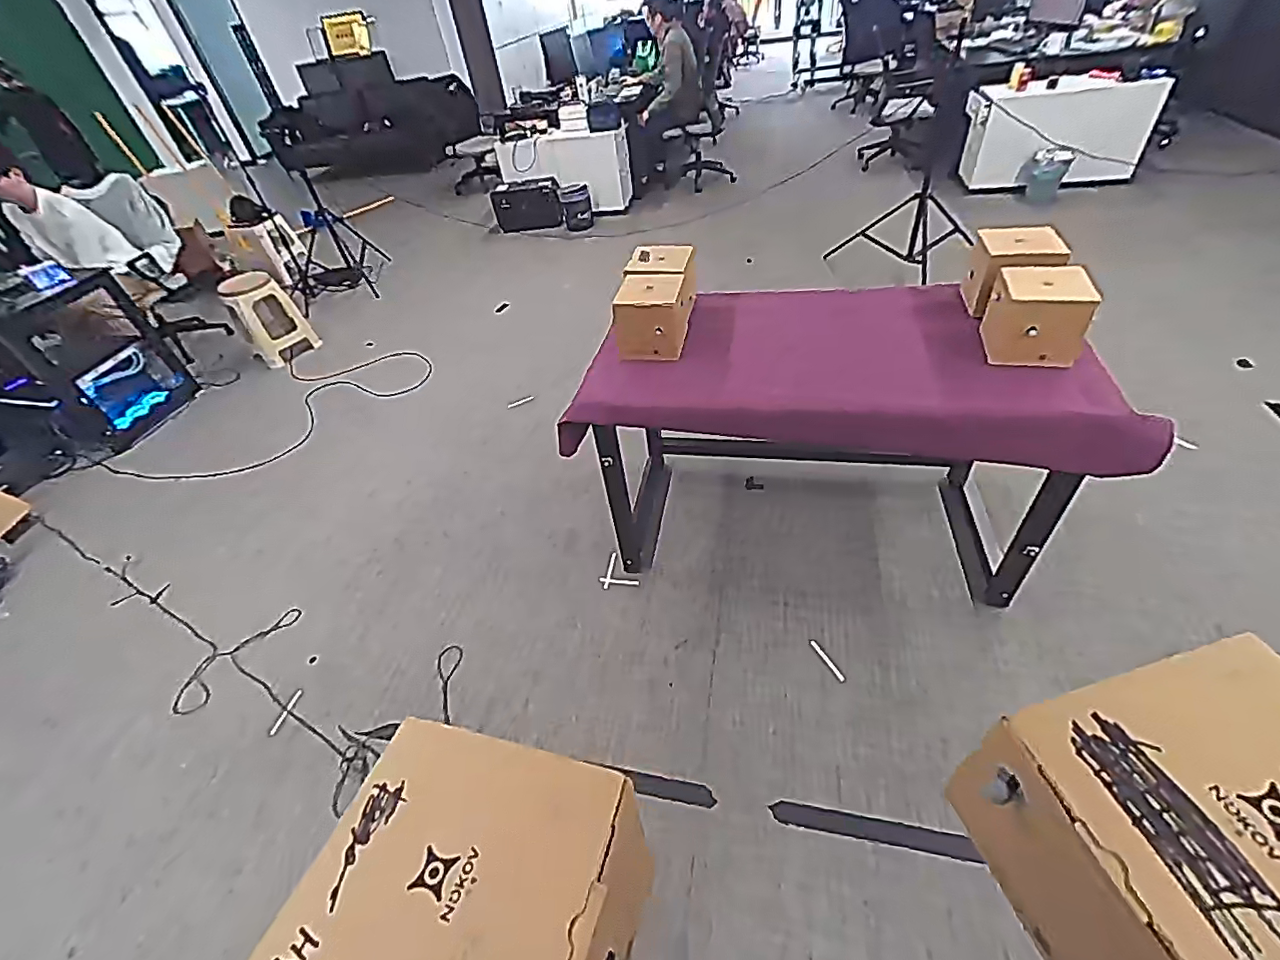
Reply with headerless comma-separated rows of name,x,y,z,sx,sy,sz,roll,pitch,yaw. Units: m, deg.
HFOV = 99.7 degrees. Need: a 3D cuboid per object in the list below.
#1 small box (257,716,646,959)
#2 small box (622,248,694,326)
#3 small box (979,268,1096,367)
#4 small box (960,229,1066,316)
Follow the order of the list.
small box,-0.101,0.295,0.365,0.179,0.176,0.168,7,40,16
small box,0.060,-0.575,1.612,0.179,0.176,0.168,6,47,14
small box,0.916,-0.379,1.265,0.168,0.176,0.179,6,44,17
small box,0.961,-0.538,1.415,0.179,0.176,0.168,5,46,13
